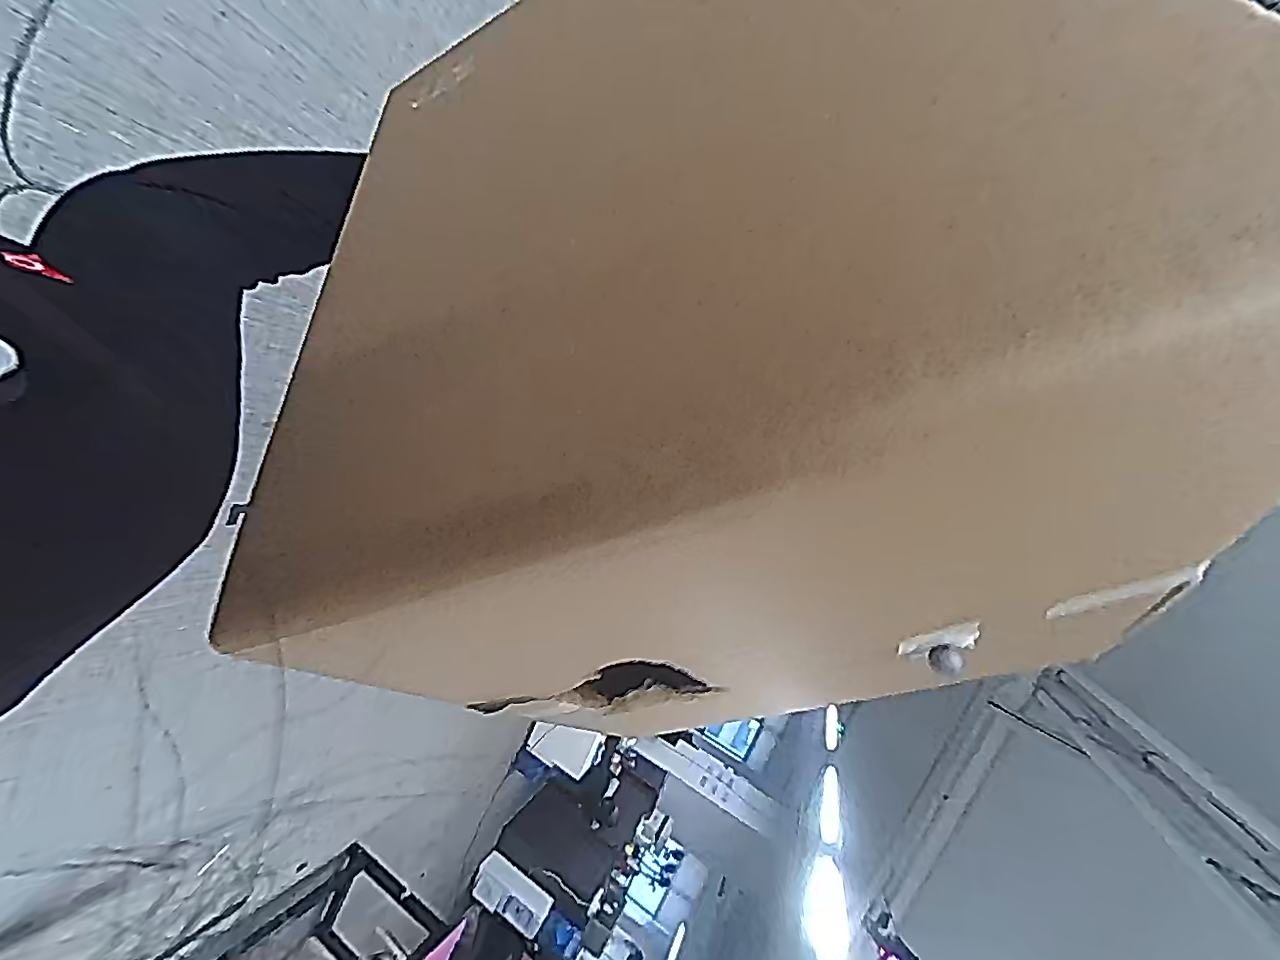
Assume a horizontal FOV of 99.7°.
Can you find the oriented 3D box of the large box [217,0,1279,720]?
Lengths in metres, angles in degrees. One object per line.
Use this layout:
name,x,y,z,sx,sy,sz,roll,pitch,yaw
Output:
large box,0.042,-0.094,0.356,0.320,0.320,0.408,50,29,-52
